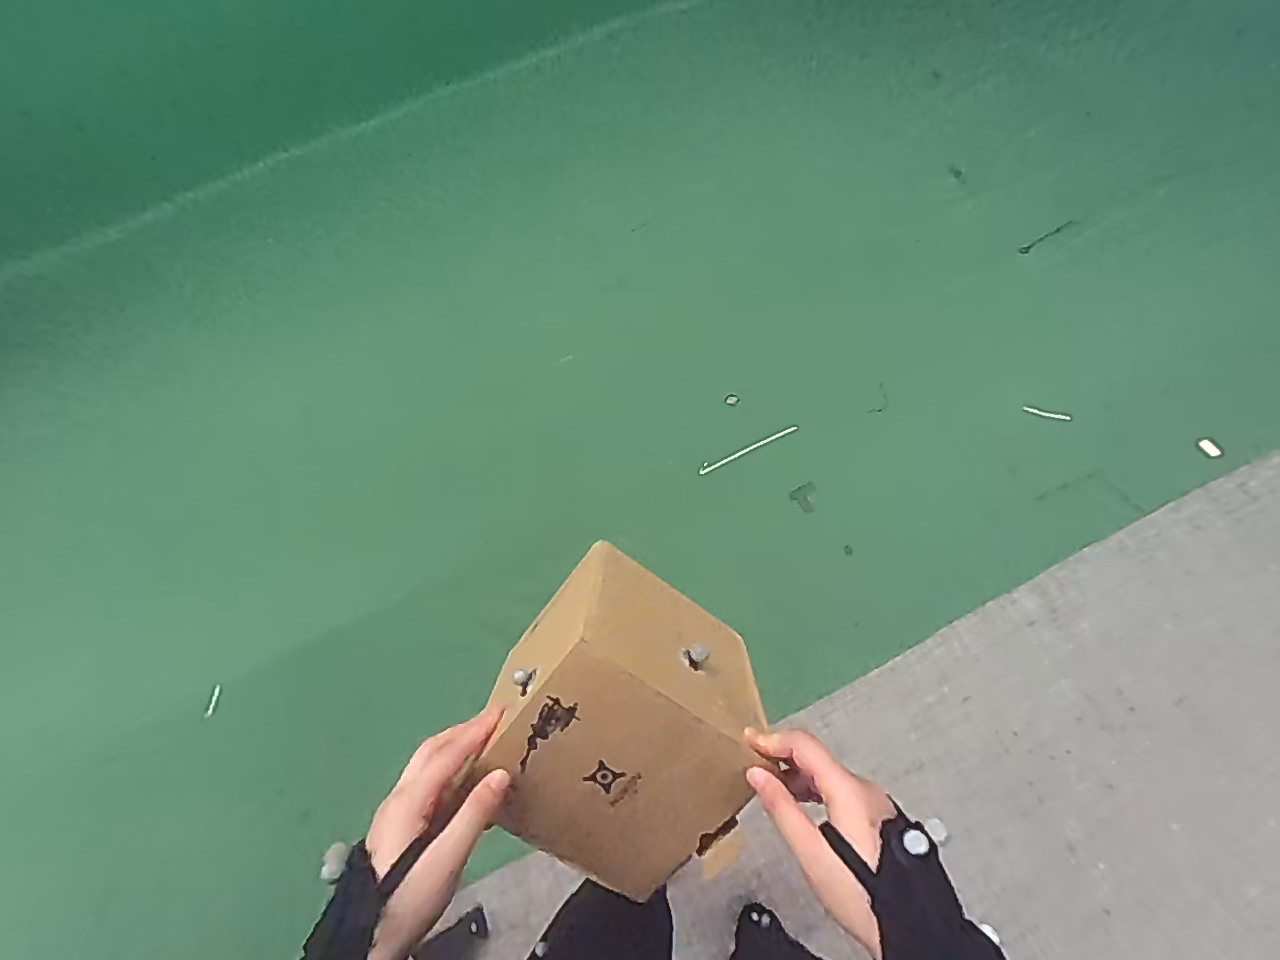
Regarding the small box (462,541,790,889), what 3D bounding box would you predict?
[{"bbox_3d":[-0.010,0.180,0.455,0.179,0.176,0.168,37,103,-10],"label":"small box"}]
